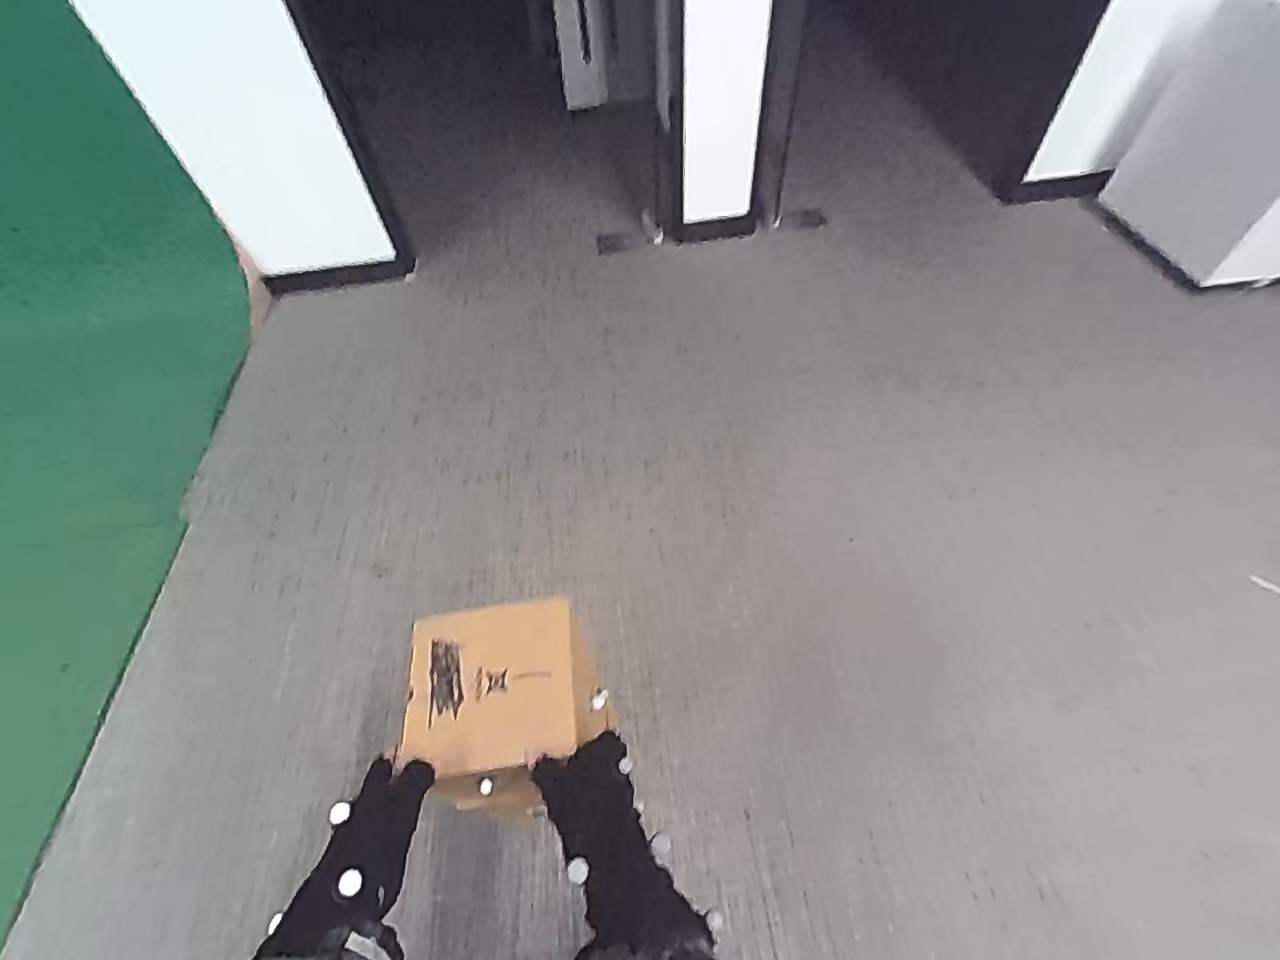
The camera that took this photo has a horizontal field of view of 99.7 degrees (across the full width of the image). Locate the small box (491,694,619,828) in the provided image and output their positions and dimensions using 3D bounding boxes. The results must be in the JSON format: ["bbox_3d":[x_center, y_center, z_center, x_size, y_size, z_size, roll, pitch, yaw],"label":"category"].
[{"bbox_3d":[-0.127,0.461,0.883,0.179,0.176,0.168,-6,53,1],"label":"small box"}]

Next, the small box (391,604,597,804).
[{"bbox_3d":[-0.153,0.263,0.625,0.179,0.176,0.168,-8,53,0],"label":"small box"}]
